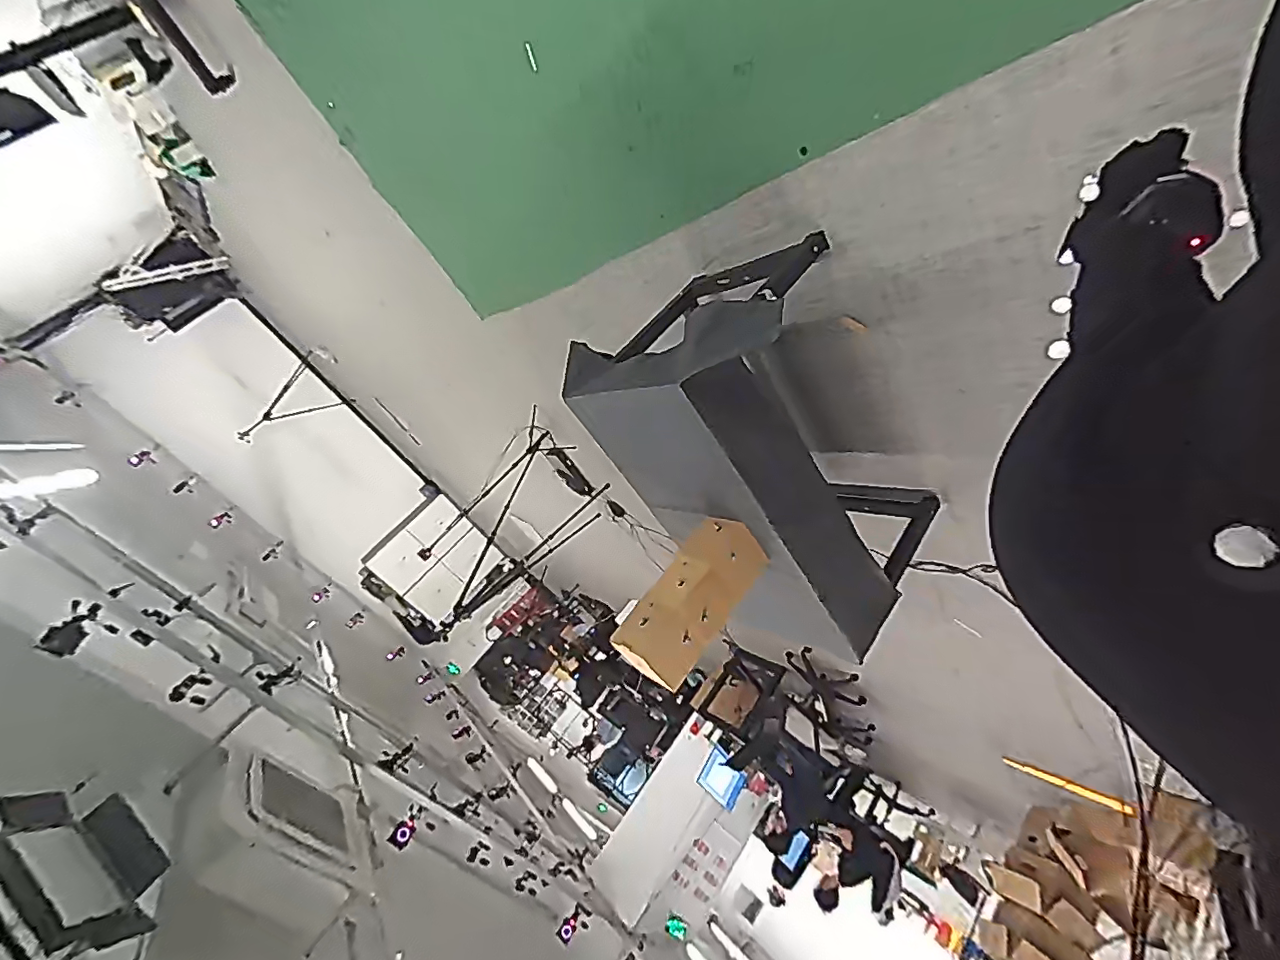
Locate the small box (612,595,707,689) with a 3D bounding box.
[{"bbox_3d":[0.058,0.458,1.555,0.168,0.176,0.179,8,140,54],"label":"small box"}]

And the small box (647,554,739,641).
[{"bbox_3d":[0.160,0.343,1.611,0.168,0.176,0.179,5,138,55],"label":"small box"}]
